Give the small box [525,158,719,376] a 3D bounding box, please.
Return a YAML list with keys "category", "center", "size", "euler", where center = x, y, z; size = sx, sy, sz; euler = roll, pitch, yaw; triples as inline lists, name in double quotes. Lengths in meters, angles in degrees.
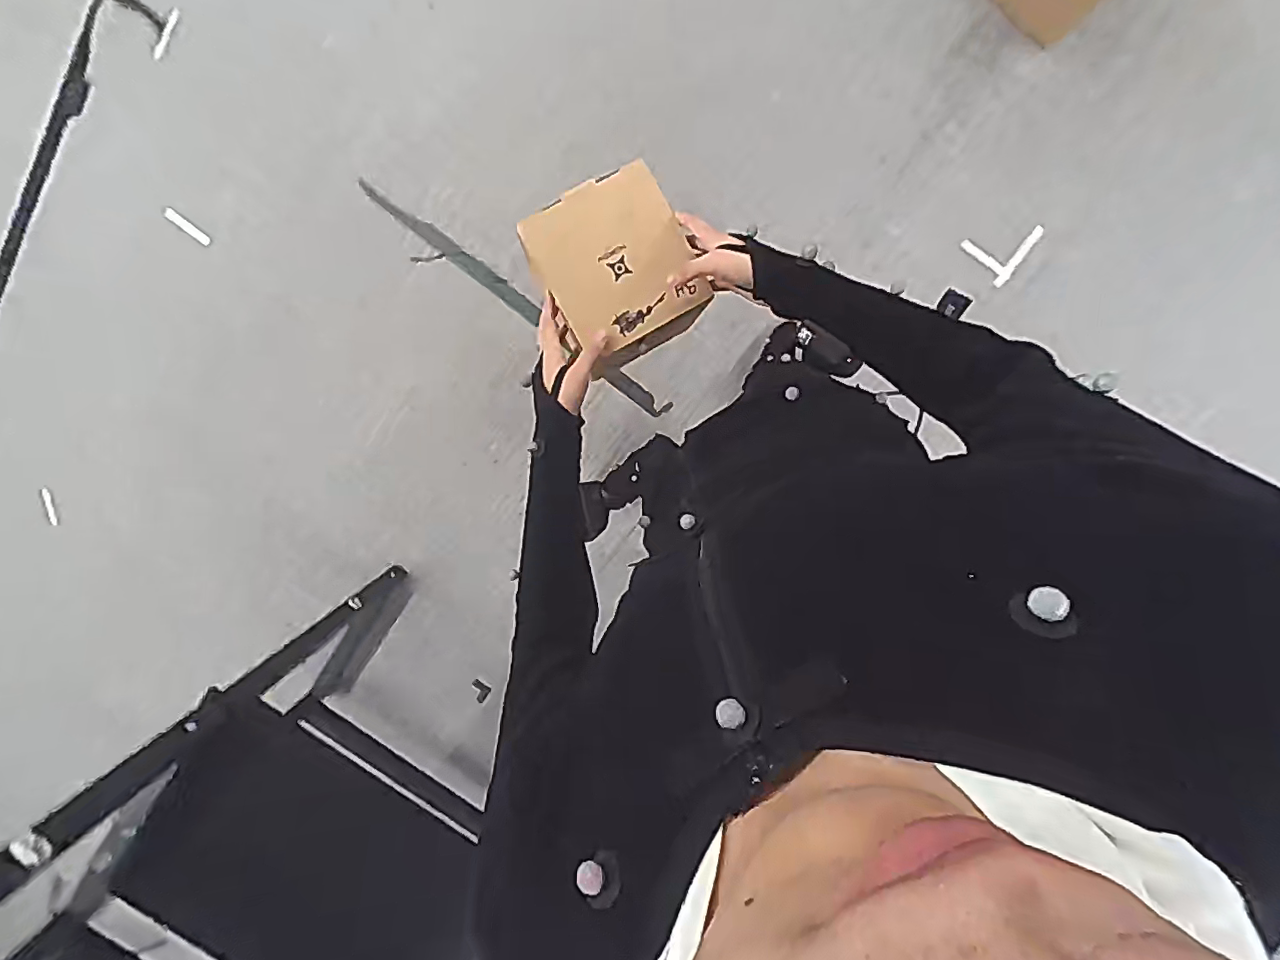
- category: "small box"
  center: [-0.027, -0.251, 0.683]
  size: [0.168, 0.176, 0.179]
  euler: [-28, 95, -3]
